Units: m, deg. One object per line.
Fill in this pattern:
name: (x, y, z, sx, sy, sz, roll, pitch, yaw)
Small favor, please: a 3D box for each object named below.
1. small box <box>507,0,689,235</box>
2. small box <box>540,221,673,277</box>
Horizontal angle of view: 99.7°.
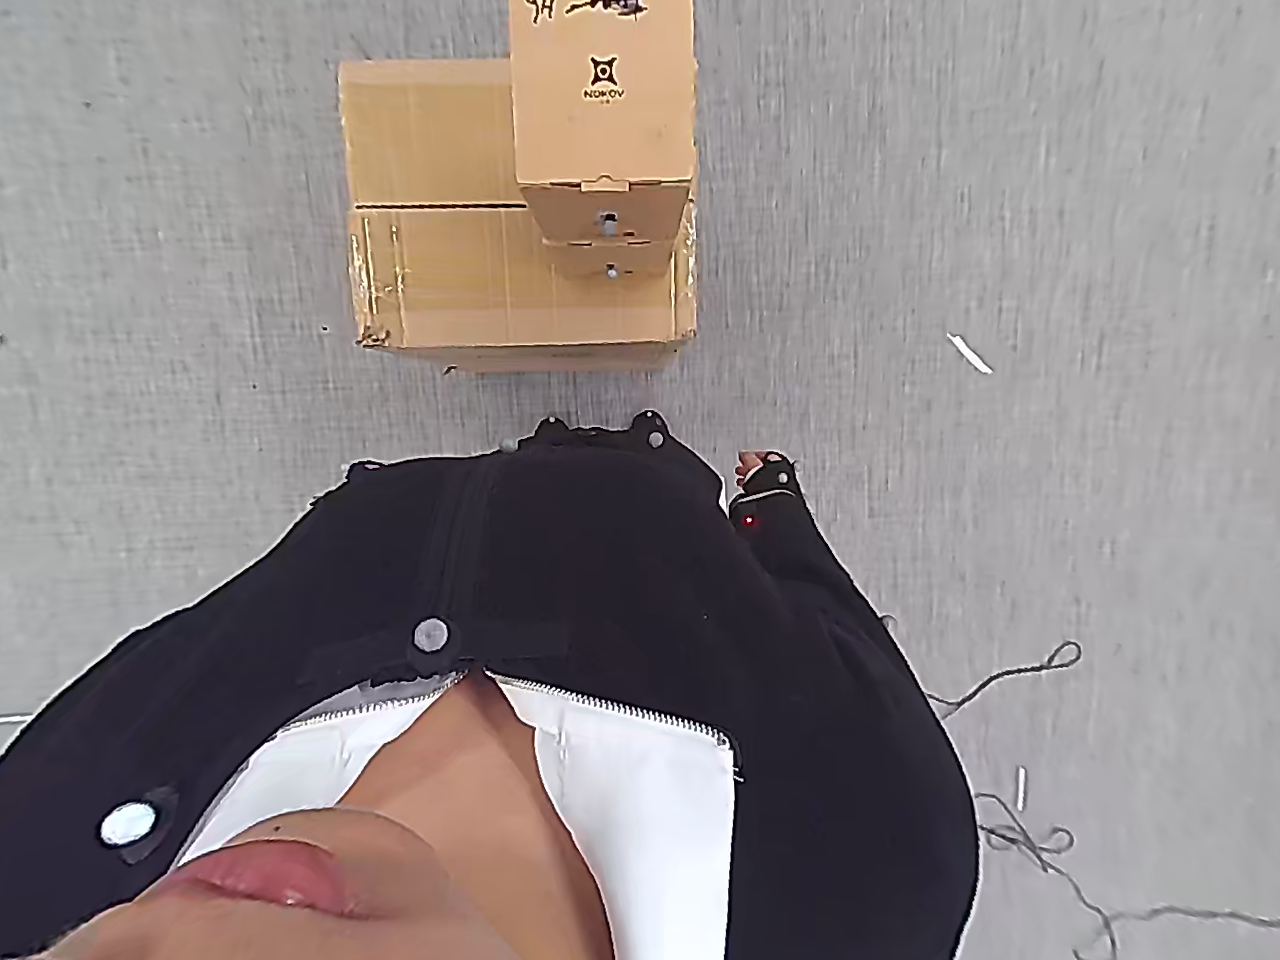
small box: (-0.037, -0.370, 0.570, 0.168, 0.176, 0.179, -1, 98, -1)
small box: (-0.044, -0.387, 0.733, 0.168, 0.176, 0.179, -2, 98, 0)
